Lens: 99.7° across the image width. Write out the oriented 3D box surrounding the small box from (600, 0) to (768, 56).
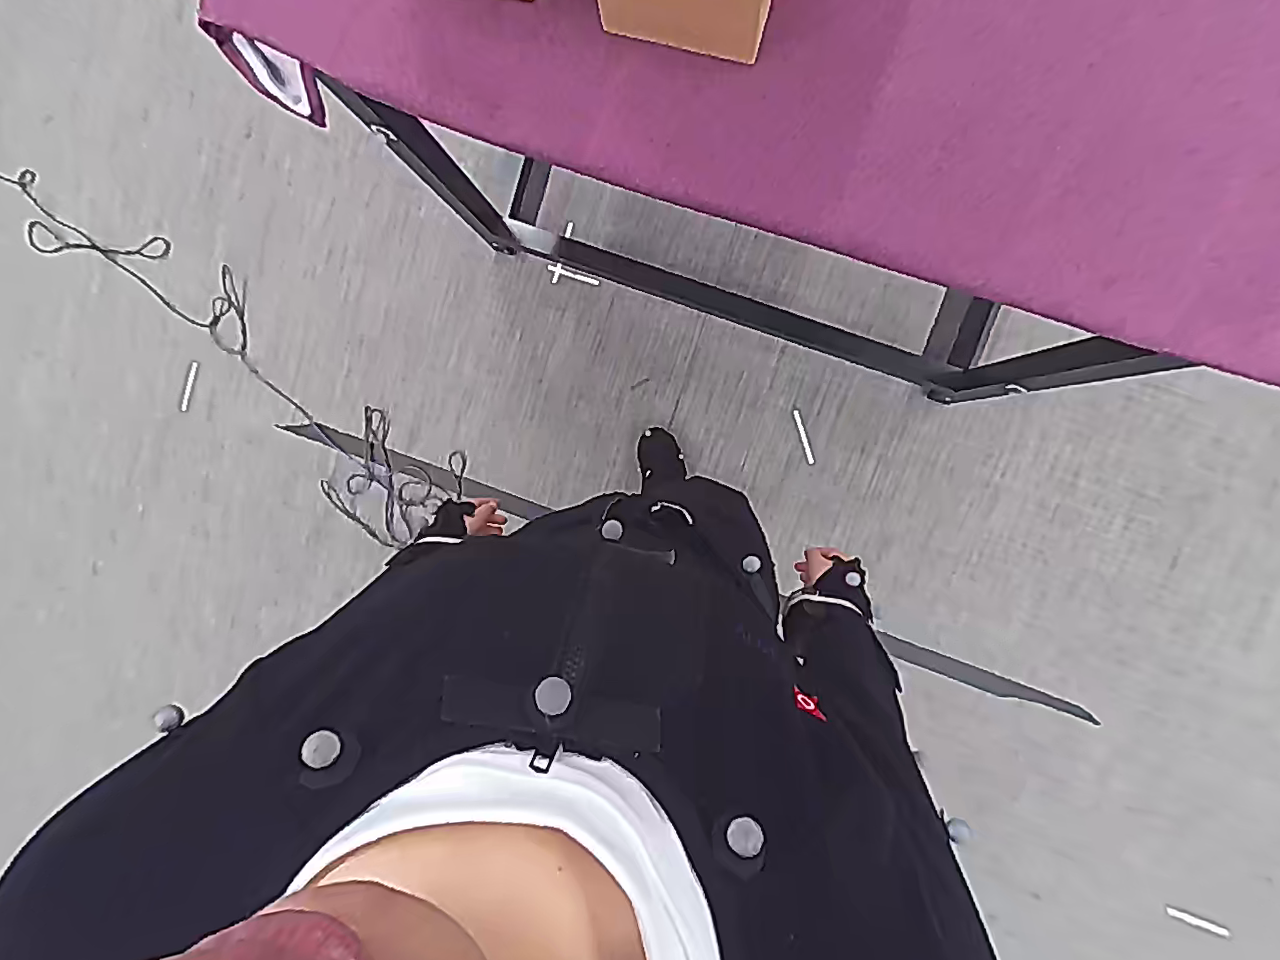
[{"bbox_3d":[0.056,-0.553,0.512,0.179,0.176,0.168,15,94,3],"label":"small box"}]
